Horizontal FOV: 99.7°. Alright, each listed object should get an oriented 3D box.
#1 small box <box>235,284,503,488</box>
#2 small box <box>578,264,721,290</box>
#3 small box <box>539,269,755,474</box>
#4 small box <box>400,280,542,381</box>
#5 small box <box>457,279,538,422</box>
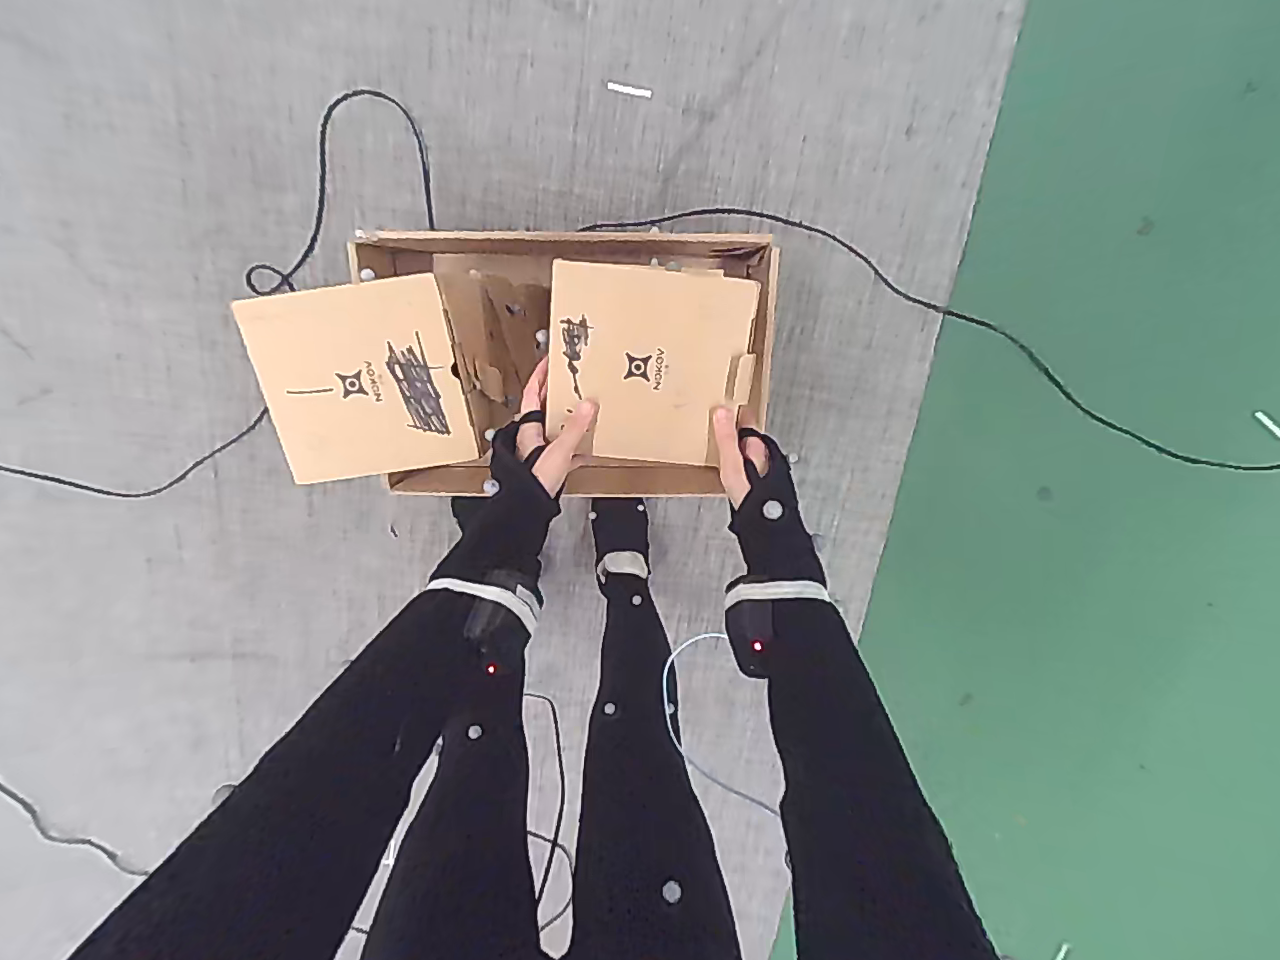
[{"bbox_3d":[-0.248,-0.104,0.552,0.179,0.176,0.168,-8,108,1],"label":"small box"},{"bbox_3d":[0.004,-0.176,0.703,0.168,0.176,0.179,3,108,0],"label":"small box"},{"bbox_3d":[0.002,-0.114,0.550,0.179,0.176,0.168,6,107,-2],"label":"small box"},{"bbox_3d":[-0.255,-0.223,0.858,0.179,0.176,0.168,0,108,-3],"label":"small box"},{"bbox_3d":[-0.242,-0.158,0.708,0.179,0.176,0.168,-15,108,3],"label":"small box"}]
